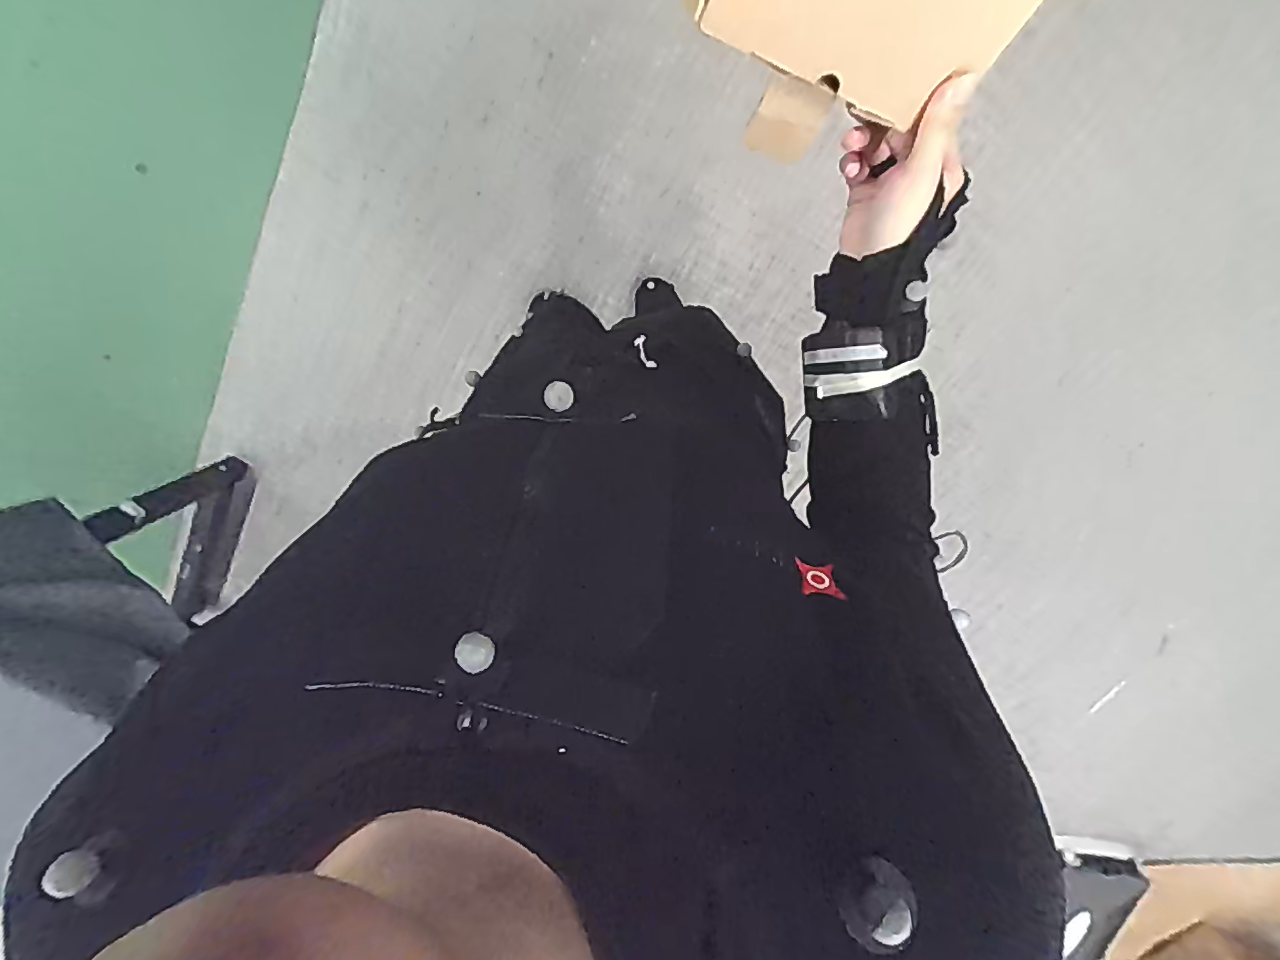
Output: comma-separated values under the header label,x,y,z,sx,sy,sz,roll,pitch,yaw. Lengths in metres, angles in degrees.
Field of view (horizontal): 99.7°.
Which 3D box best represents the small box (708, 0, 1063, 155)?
label,x,y,z,sx,sy,sz,roll,pitch,yaw
small box,0.132,-0.324,0.283,0.168,0.176,0.179,7,145,-23
